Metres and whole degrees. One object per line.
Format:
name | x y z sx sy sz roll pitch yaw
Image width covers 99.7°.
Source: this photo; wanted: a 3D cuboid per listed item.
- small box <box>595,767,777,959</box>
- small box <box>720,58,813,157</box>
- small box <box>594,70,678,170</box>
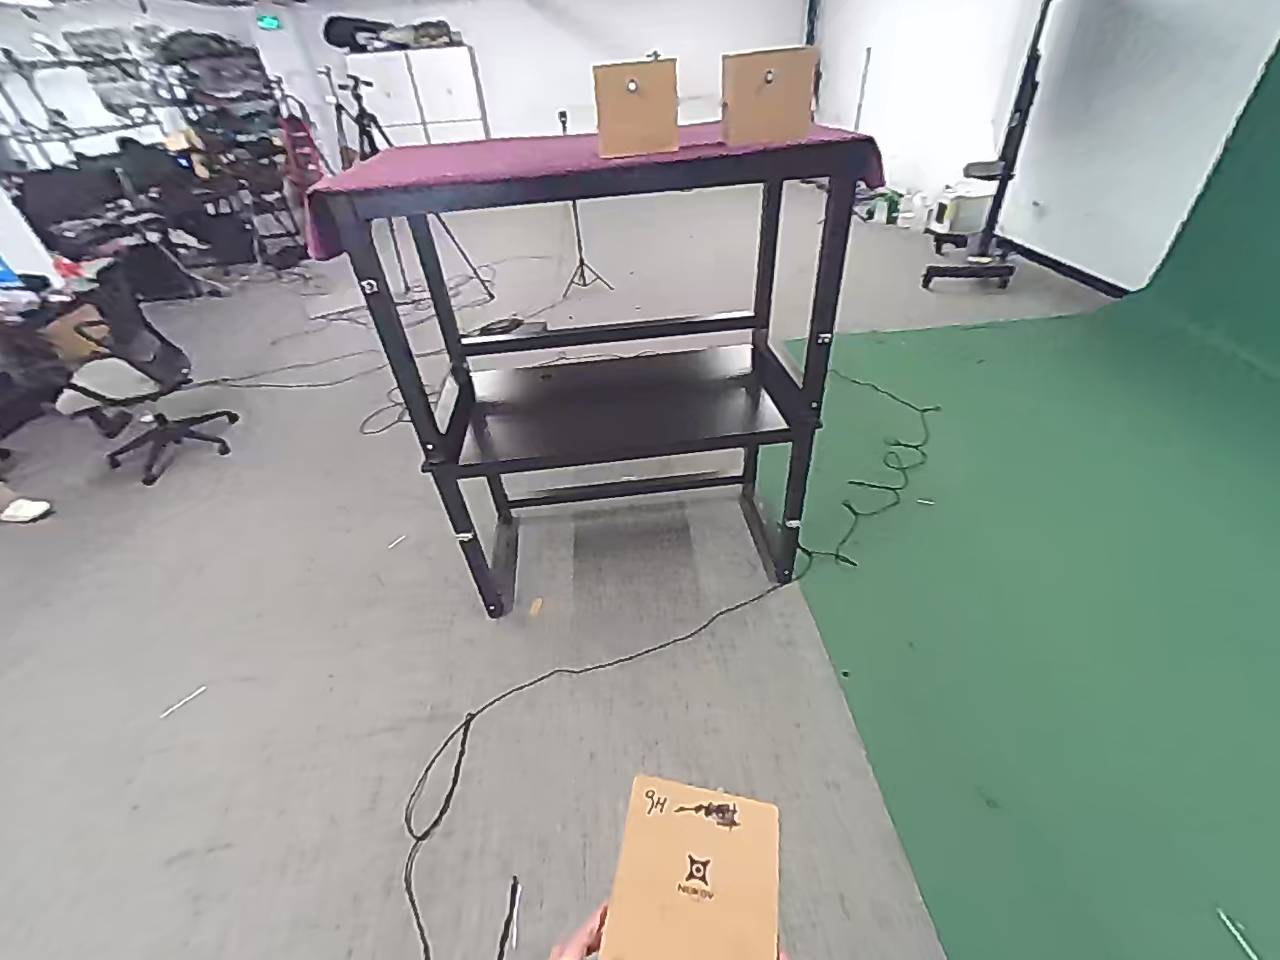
small box | 0.054 0.459 0.604 0.168 0.176 0.179 9 43 8
small box | 0.278 -0.841 1.224 0.179 0.176 0.168 -4 39 2
small box | -0.008 -0.814 1.221 0.179 0.176 0.168 -6 36 -1
